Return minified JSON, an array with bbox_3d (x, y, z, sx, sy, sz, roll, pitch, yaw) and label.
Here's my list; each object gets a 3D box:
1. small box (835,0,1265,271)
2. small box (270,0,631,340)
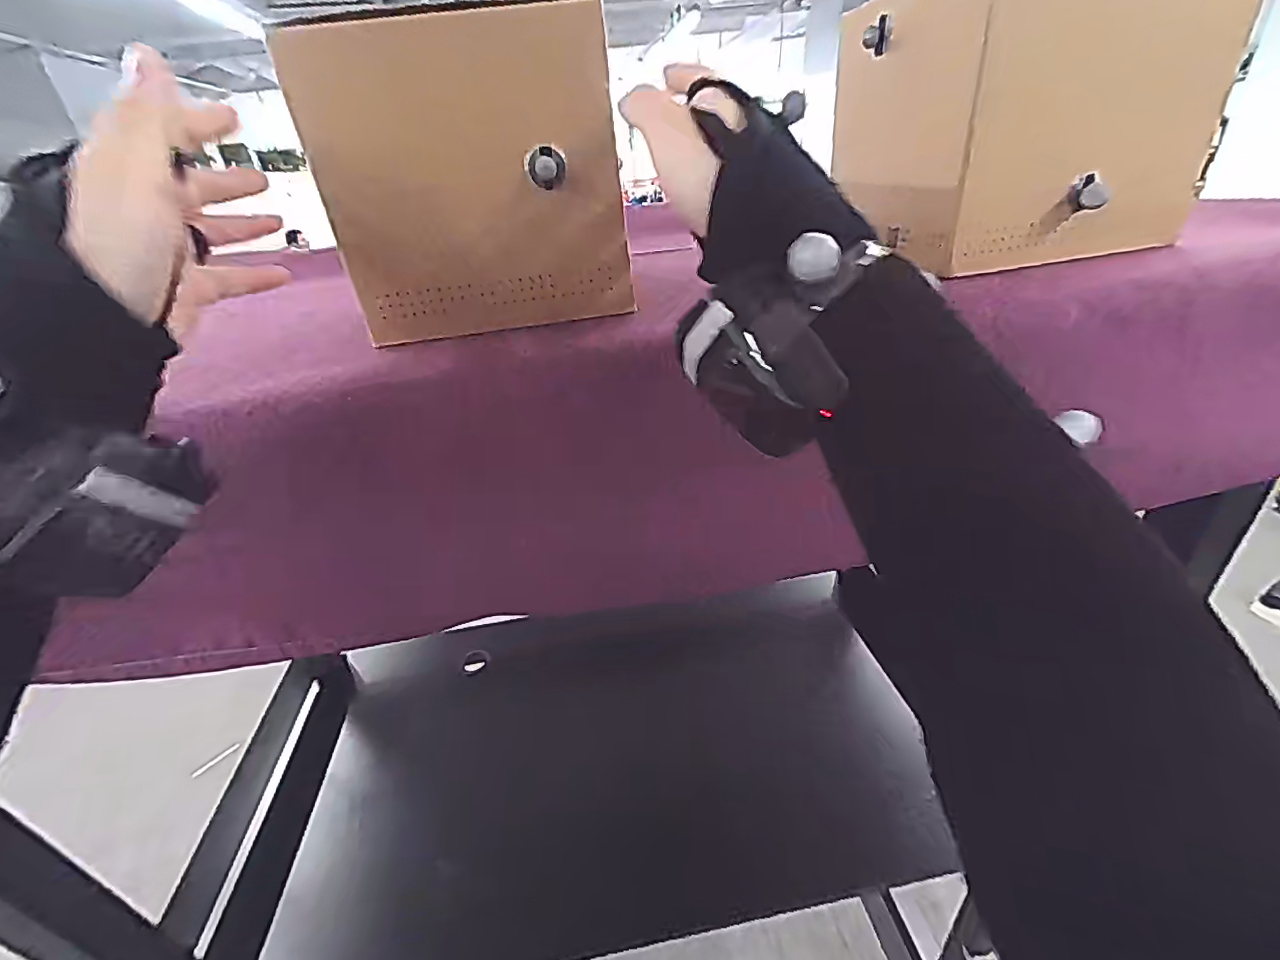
[{"bbox_3d":[0.260,-0.257,0.386,0.179,0.176,0.168,-10,30,-6],"label":"small box"},{"bbox_3d":[-0.103,-0.210,0.383,0.179,0.176,0.168,-9,29,-4],"label":"small box"}]
